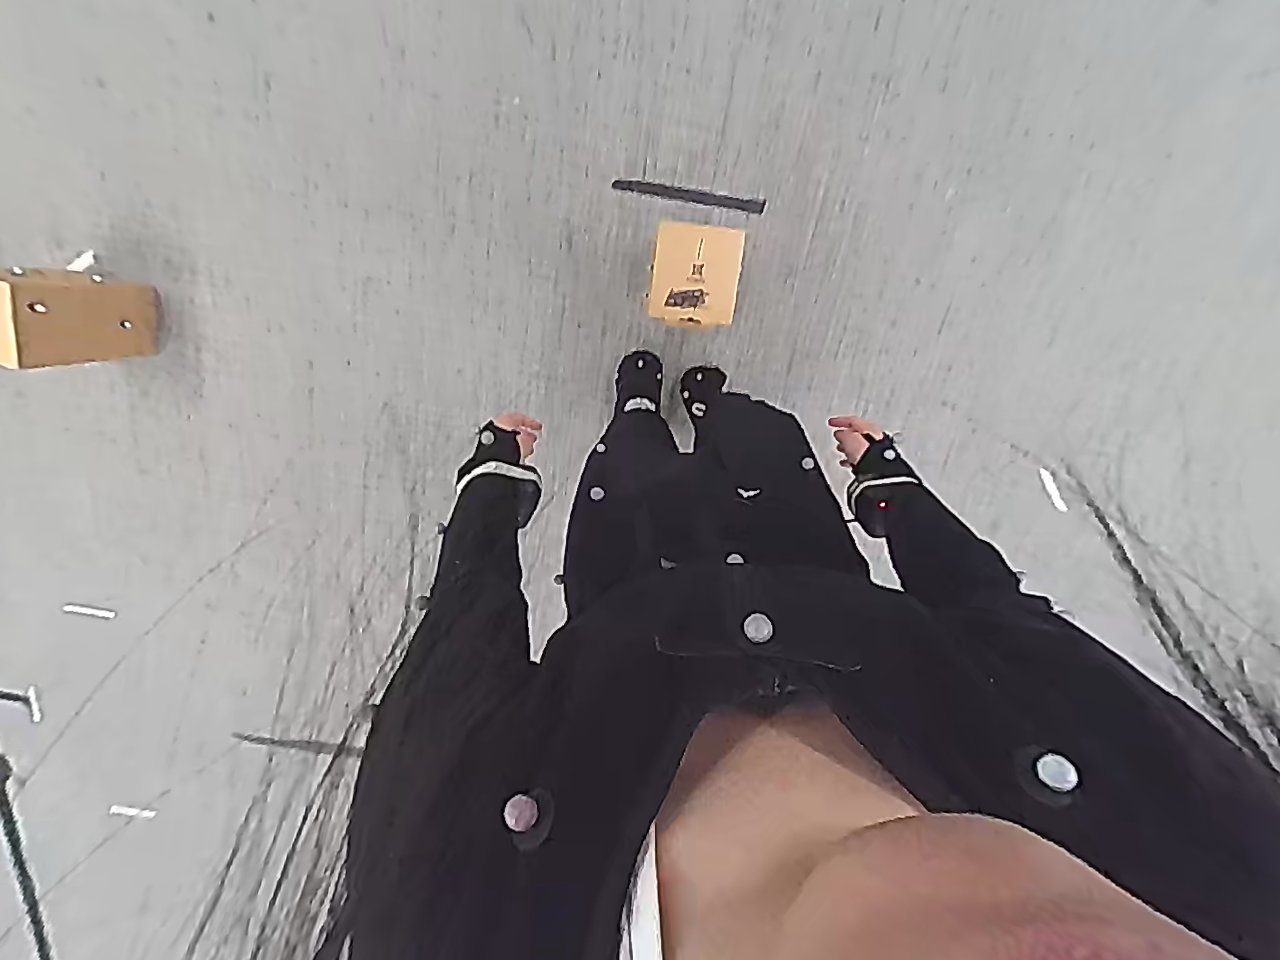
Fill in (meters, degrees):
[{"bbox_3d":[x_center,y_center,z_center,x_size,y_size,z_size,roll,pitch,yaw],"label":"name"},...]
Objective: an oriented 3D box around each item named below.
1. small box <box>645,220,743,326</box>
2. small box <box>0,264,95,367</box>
[{"bbox_3d":[0.103,-0.417,1.109,0.168,0.176,0.179,6,107,-2],"label":"small box"},{"bbox_3d":[-1.316,-0.352,1.143,0.168,0.176,0.179,14,108,-3],"label":"small box"}]
